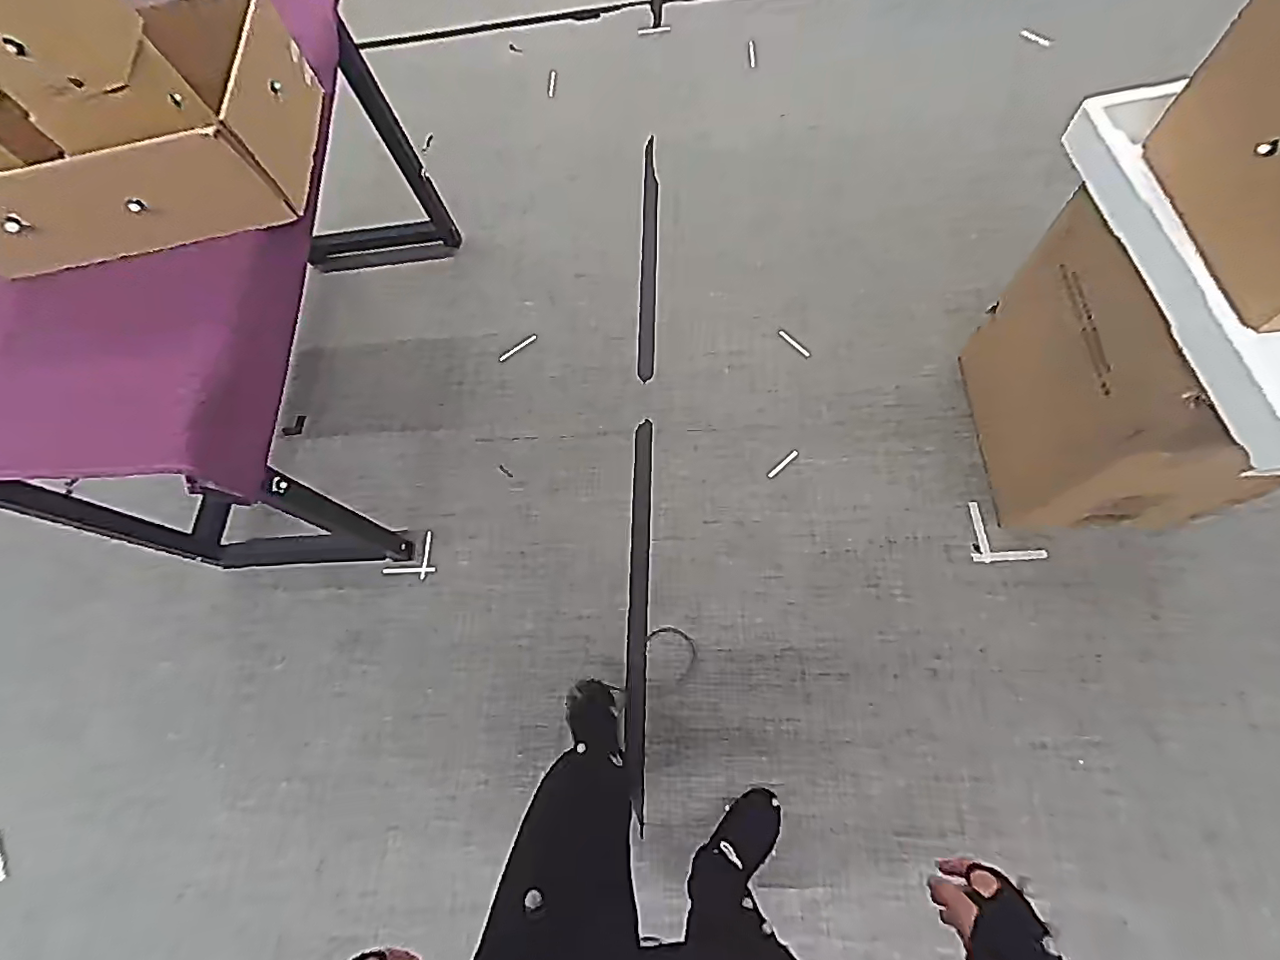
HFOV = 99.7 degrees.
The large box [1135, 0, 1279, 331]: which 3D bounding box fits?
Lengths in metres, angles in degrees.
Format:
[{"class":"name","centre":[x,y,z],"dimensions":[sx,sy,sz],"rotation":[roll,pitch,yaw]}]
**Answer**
[{"class":"large box","centre":[0.989,-0.464,0.705],"dimensions":[0.320,0.320,0.408],"rotation":[-5,66,5]}]

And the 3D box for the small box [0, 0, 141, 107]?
[{"class":"small box","centre":[-0.893,-0.687,0.793],"dimensions":[0.168,0.176,0.179],"rotation":[-14,66,4]}]
